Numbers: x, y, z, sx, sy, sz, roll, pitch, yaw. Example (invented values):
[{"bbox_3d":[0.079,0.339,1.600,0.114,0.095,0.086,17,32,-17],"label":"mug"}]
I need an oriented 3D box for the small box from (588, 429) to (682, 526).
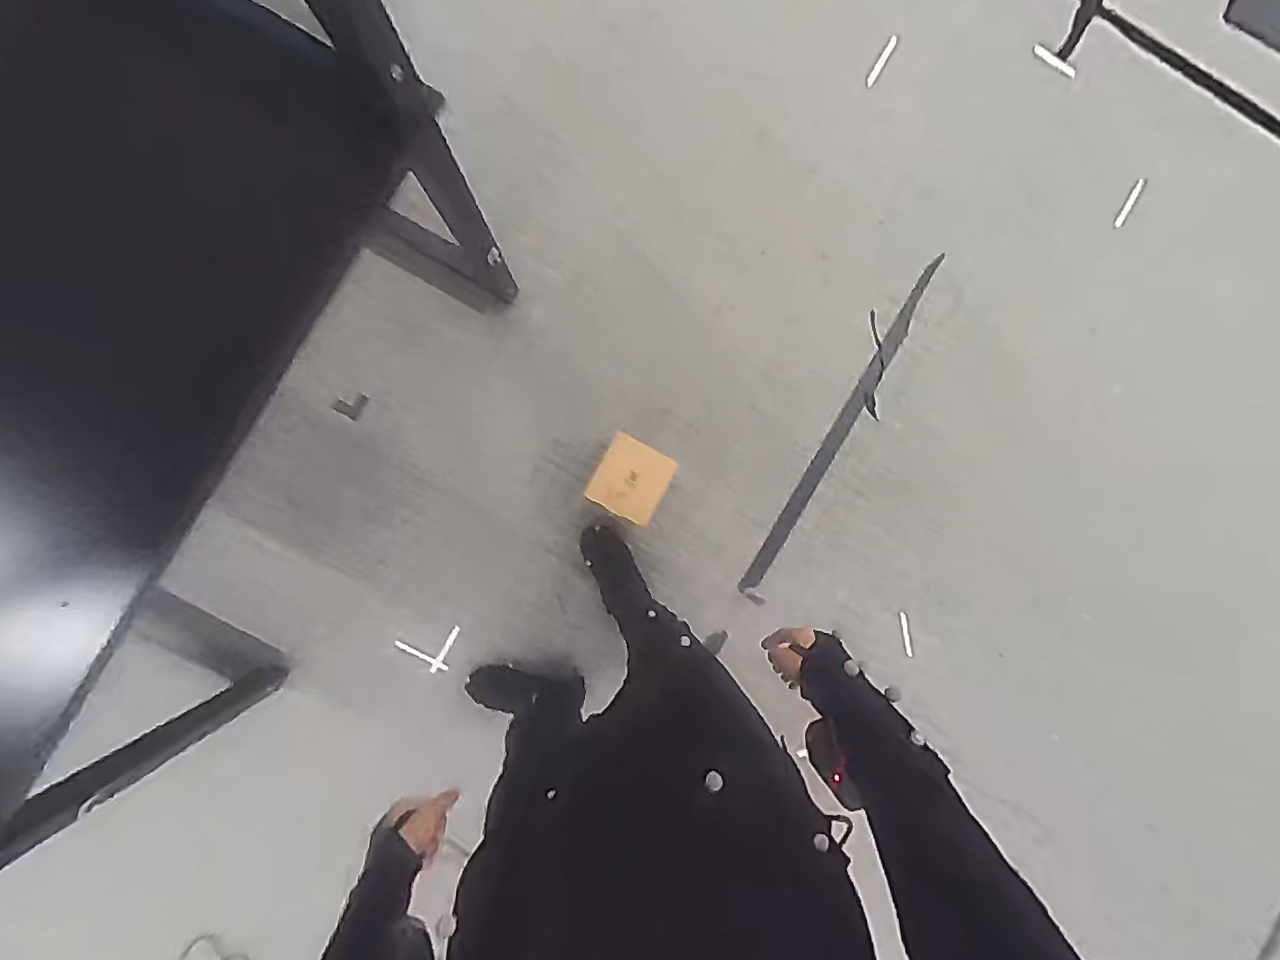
[{"bbox_3d":[-0.018,-0.006,1.337,0.168,0.176,0.179,28,89,-3],"label":"small box"}]
